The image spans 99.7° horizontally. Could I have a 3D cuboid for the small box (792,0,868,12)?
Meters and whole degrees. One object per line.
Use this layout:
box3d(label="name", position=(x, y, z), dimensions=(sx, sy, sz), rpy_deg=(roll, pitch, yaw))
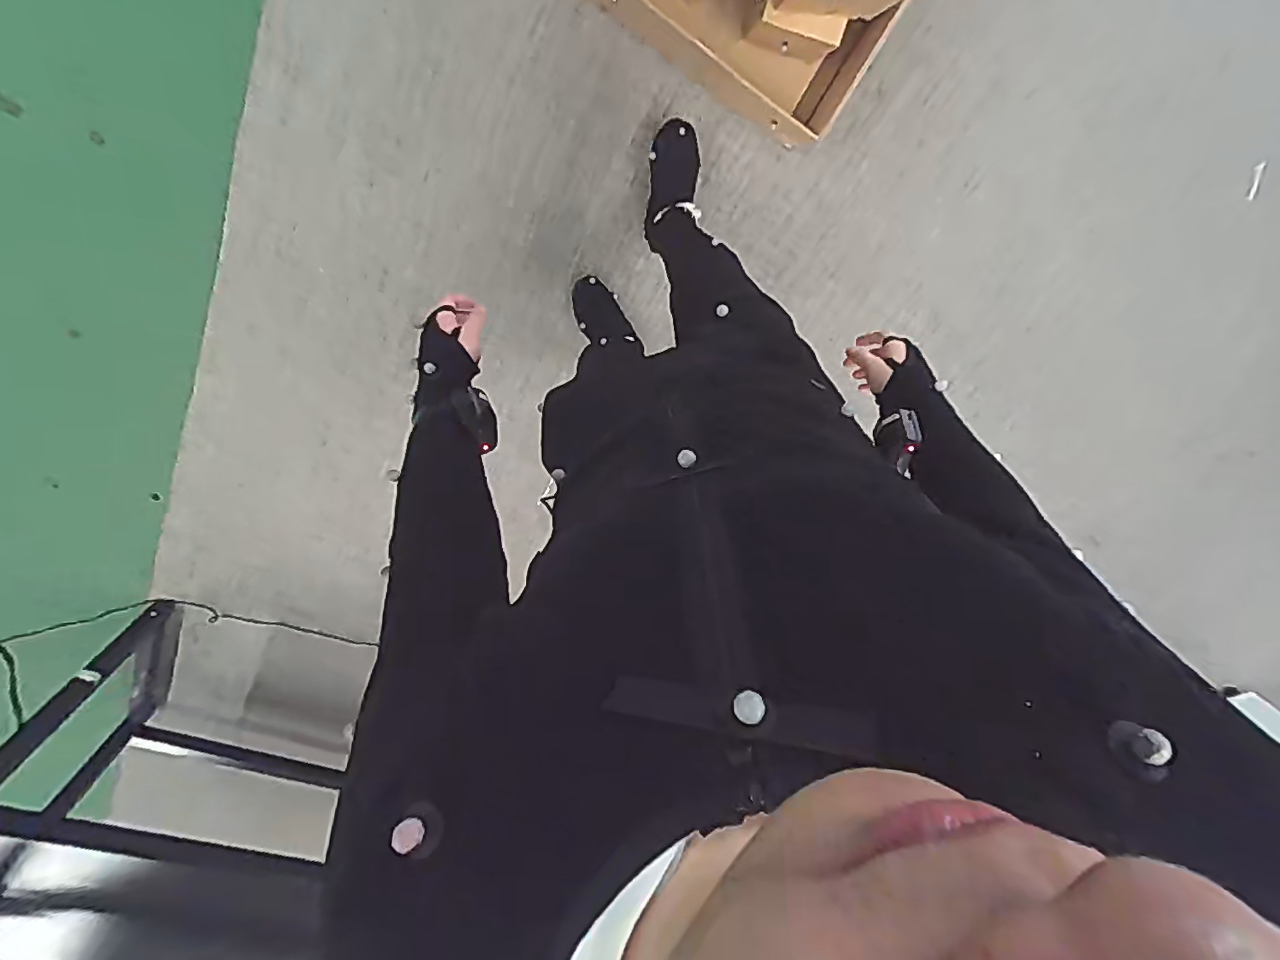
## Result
box3d(label="small box", position=(0.357, -0.932, 0.919), dimensions=(0.168, 0.176, 0.179), rpy_deg=(1, 117, -5))

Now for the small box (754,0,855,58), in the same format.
box3d(label="small box", position=(0.339, -0.980, 1.077), dimensions=(0.168, 0.176, 0.179), rpy_deg=(11, 116, -9))

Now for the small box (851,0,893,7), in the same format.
box3d(label="small box", position=(0.353, -0.835, 0.785), dimensions=(0.179, 0.176, 0.168), rpy_deg=(18, 115, -14))
